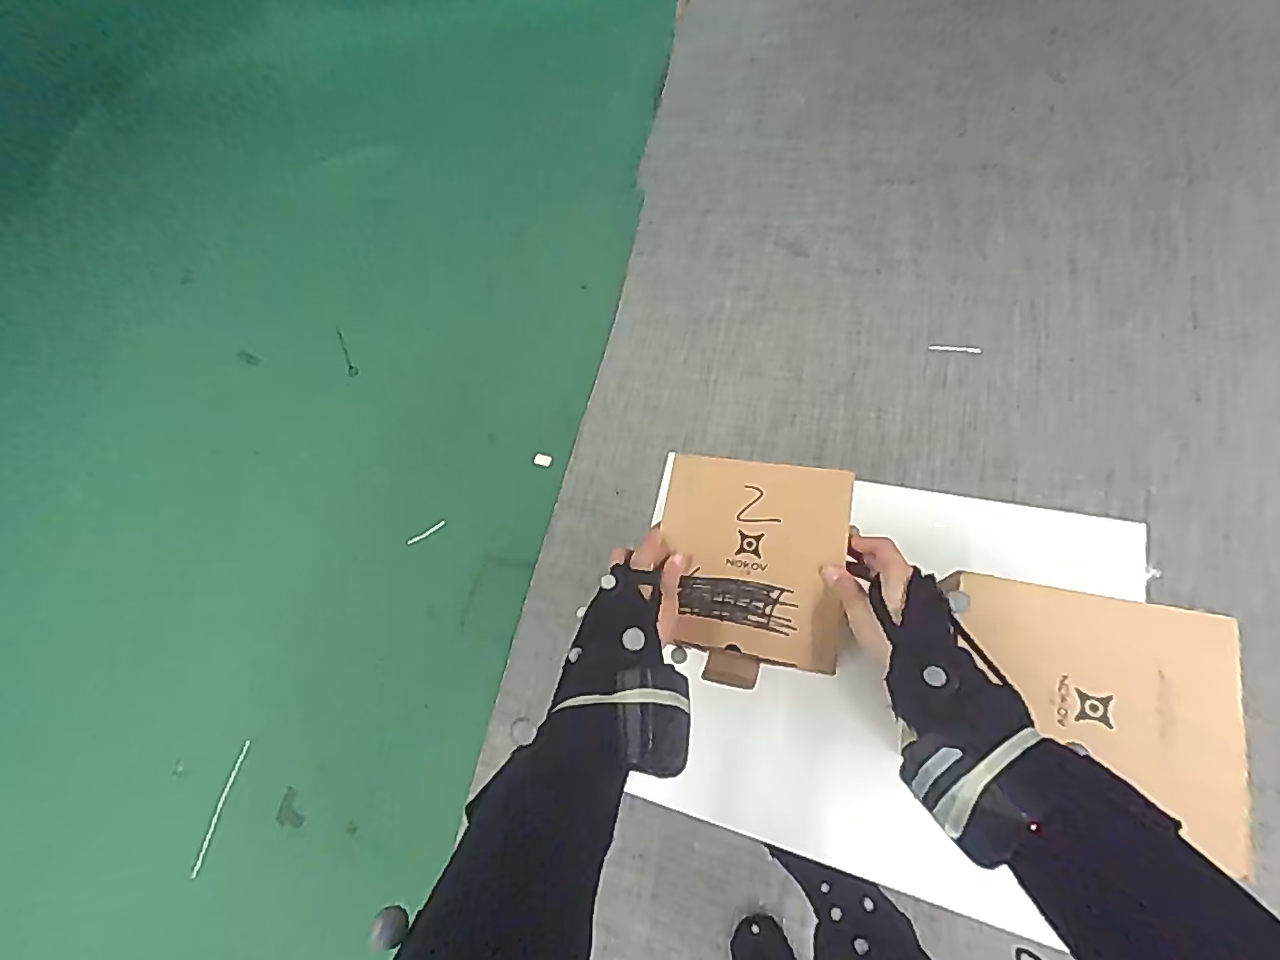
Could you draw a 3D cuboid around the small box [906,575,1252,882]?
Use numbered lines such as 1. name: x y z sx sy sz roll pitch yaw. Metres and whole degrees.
1. small box: 0.336 0.188 0.454 0.179 0.176 0.168 8 74 18
